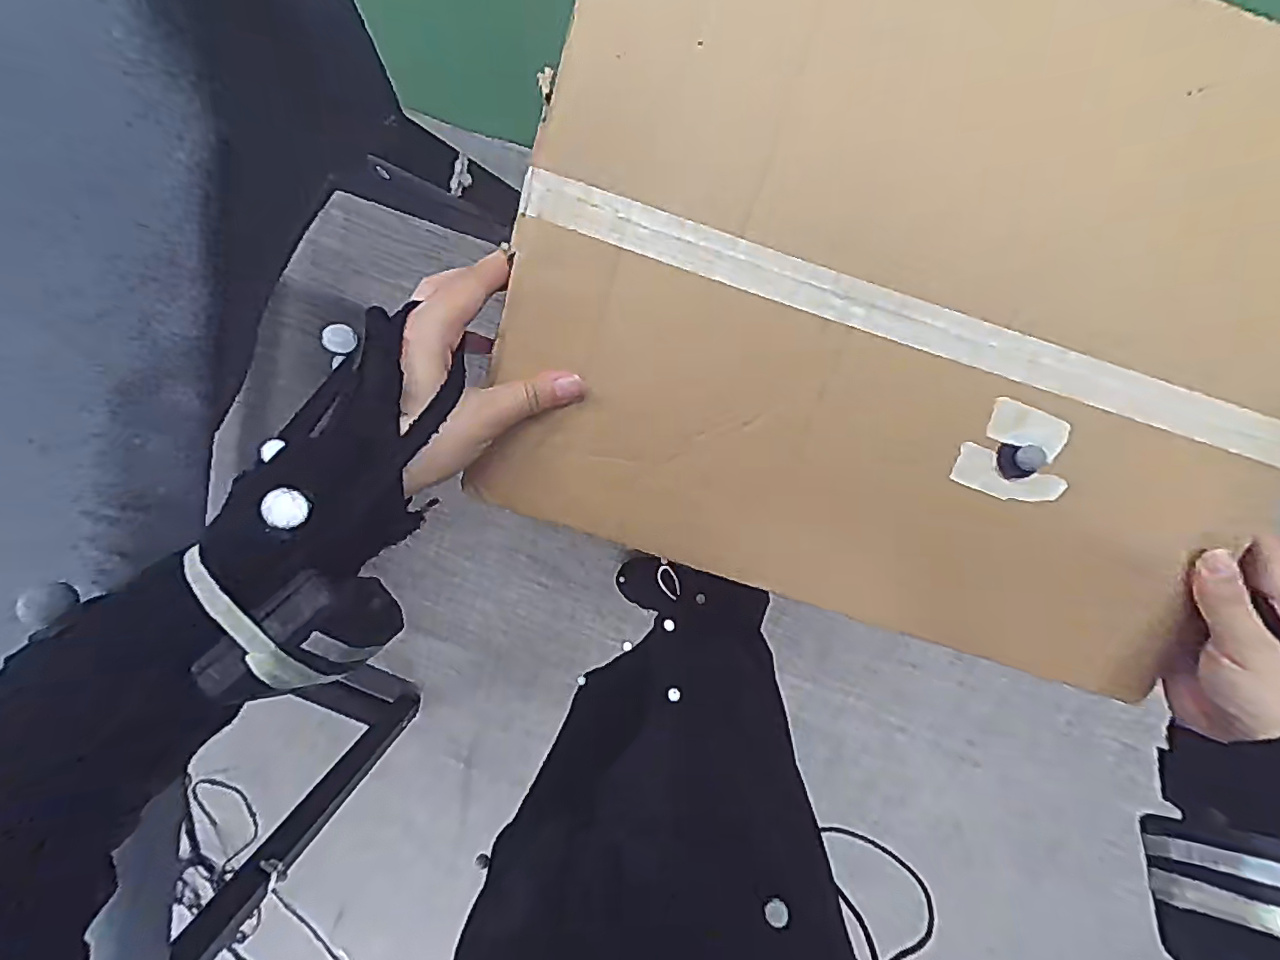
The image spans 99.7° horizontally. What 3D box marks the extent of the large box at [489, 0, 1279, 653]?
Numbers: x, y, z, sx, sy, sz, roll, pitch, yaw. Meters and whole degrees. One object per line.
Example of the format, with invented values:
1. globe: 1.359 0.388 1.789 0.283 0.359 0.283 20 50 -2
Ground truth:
1. large box: 0.145 -0.124 0.426 0.408 0.320 0.320 17 105 -3
